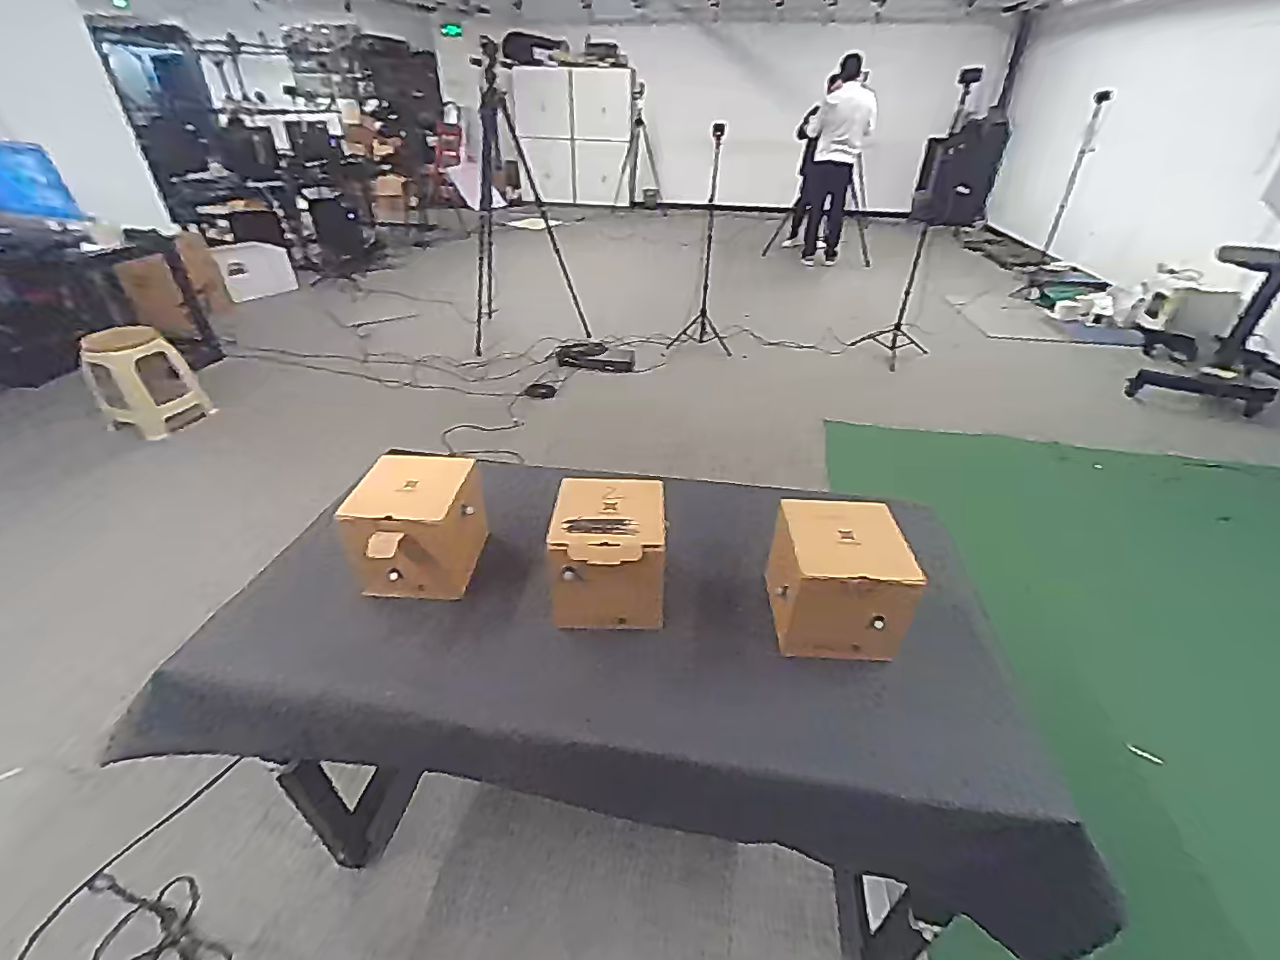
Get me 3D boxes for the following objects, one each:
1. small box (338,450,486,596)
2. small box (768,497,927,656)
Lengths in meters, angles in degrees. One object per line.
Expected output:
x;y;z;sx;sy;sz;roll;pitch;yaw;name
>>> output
-0.365;0.069;0.907;0.168;0.176;0.179;3;35;1;small box
0.298;0.145;0.820;0.168;0.176;0.179;3;33;1;small box
